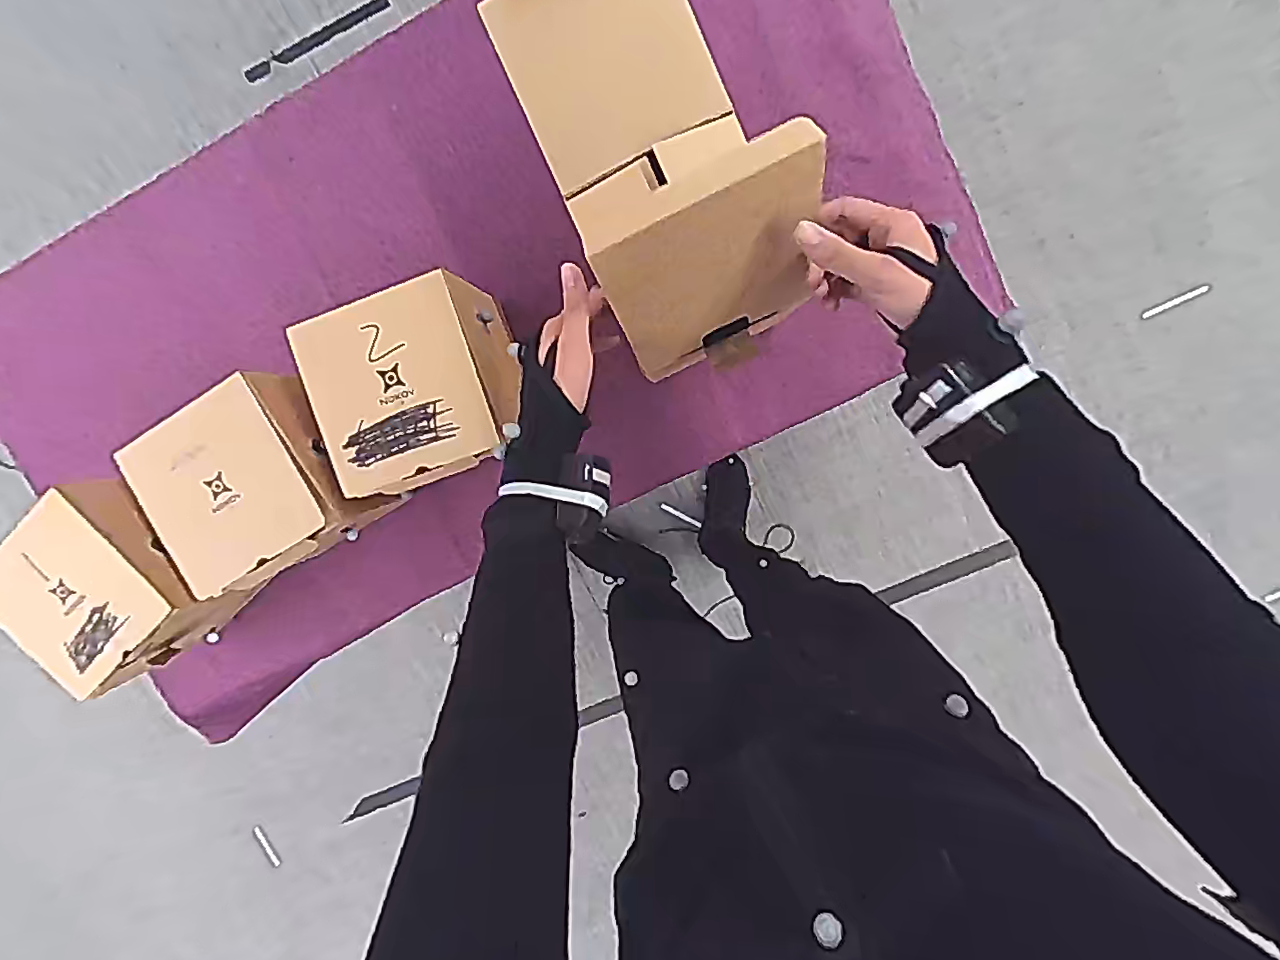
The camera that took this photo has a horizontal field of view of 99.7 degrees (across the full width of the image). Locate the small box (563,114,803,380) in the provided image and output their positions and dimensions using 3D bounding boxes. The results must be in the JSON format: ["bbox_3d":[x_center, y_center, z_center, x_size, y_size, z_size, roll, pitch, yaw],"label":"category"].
[{"bbox_3d":[0.042,-0.216,0.559,0.168,0.176,0.179,-24,96,7],"label":"small box"}]
